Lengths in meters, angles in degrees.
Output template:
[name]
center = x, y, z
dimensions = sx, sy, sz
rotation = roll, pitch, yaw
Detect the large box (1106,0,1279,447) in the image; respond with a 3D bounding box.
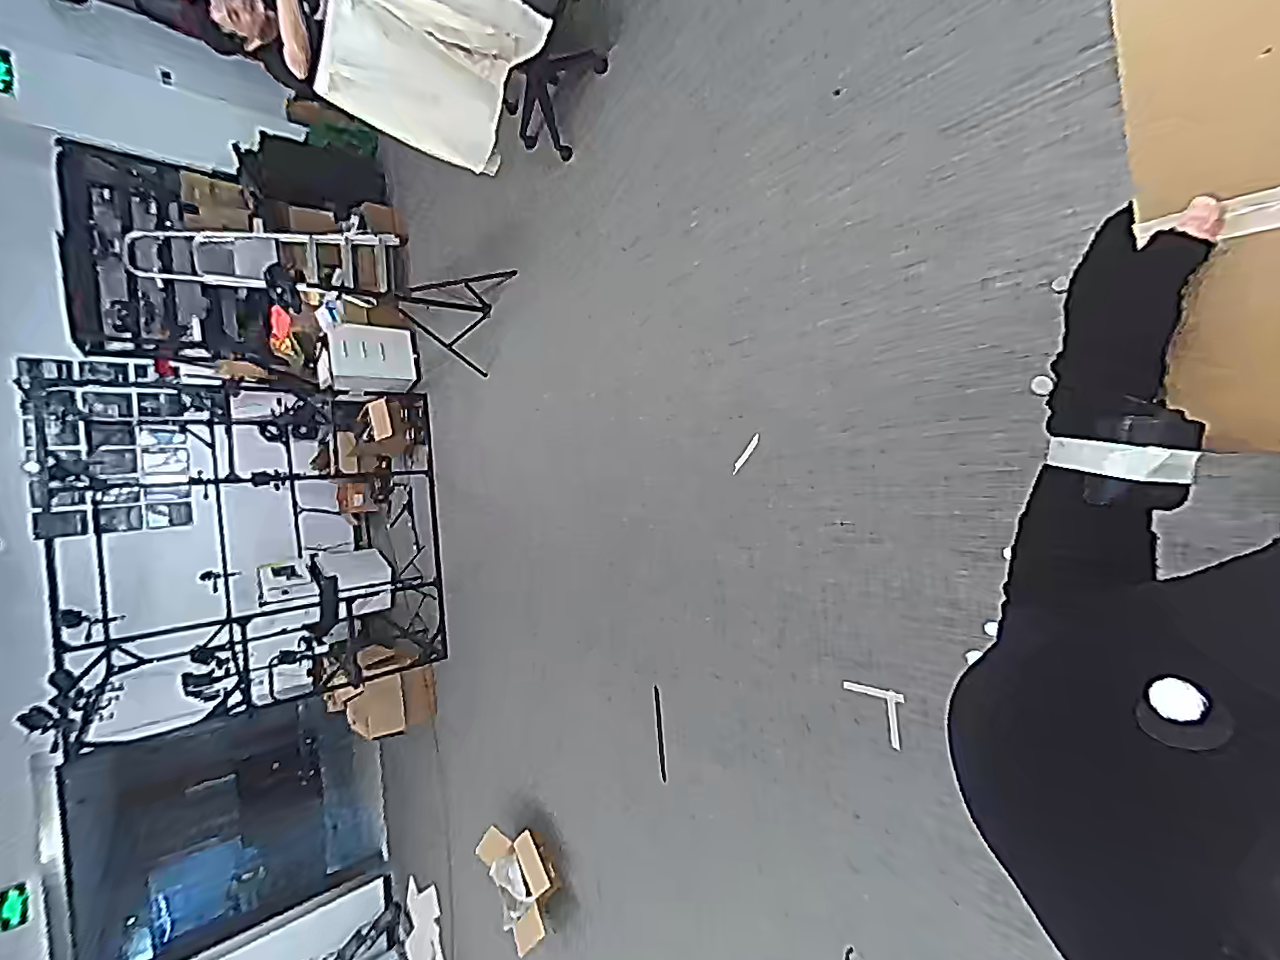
[large box]
center = 0.546, -0.225, 0.256
dimensions = 0.408, 0.320, 0.320
rotation = 5, 125, 57
